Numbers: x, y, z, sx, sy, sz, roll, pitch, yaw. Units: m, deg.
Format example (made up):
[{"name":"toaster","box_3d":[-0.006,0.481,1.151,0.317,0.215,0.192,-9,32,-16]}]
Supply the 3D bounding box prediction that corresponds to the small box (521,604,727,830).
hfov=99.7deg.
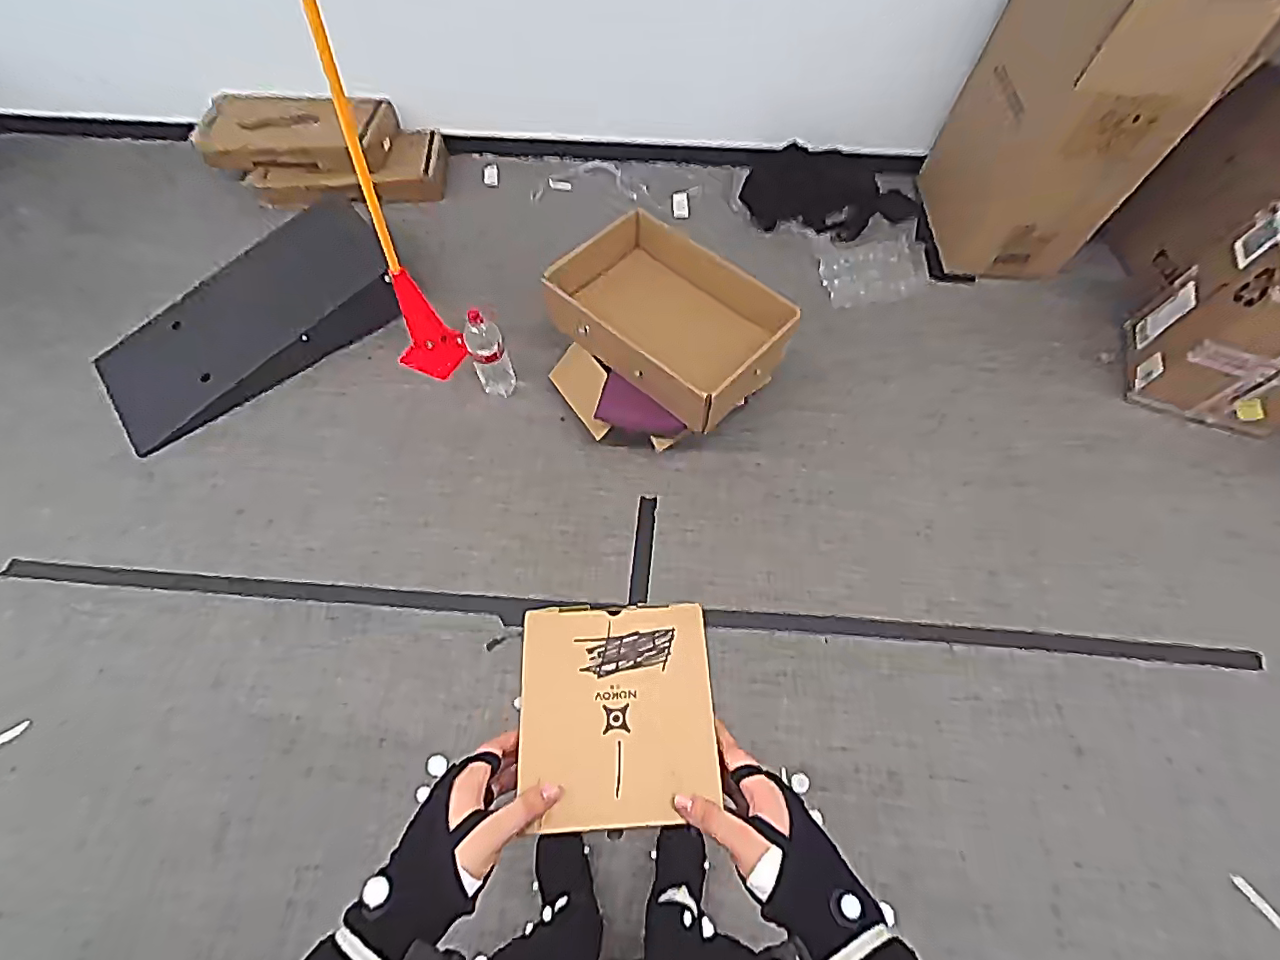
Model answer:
[{"name":"small box","box_3d":[-0.019,0.233,0.533,0.168,0.176,0.179,-1,62,-4]}]
